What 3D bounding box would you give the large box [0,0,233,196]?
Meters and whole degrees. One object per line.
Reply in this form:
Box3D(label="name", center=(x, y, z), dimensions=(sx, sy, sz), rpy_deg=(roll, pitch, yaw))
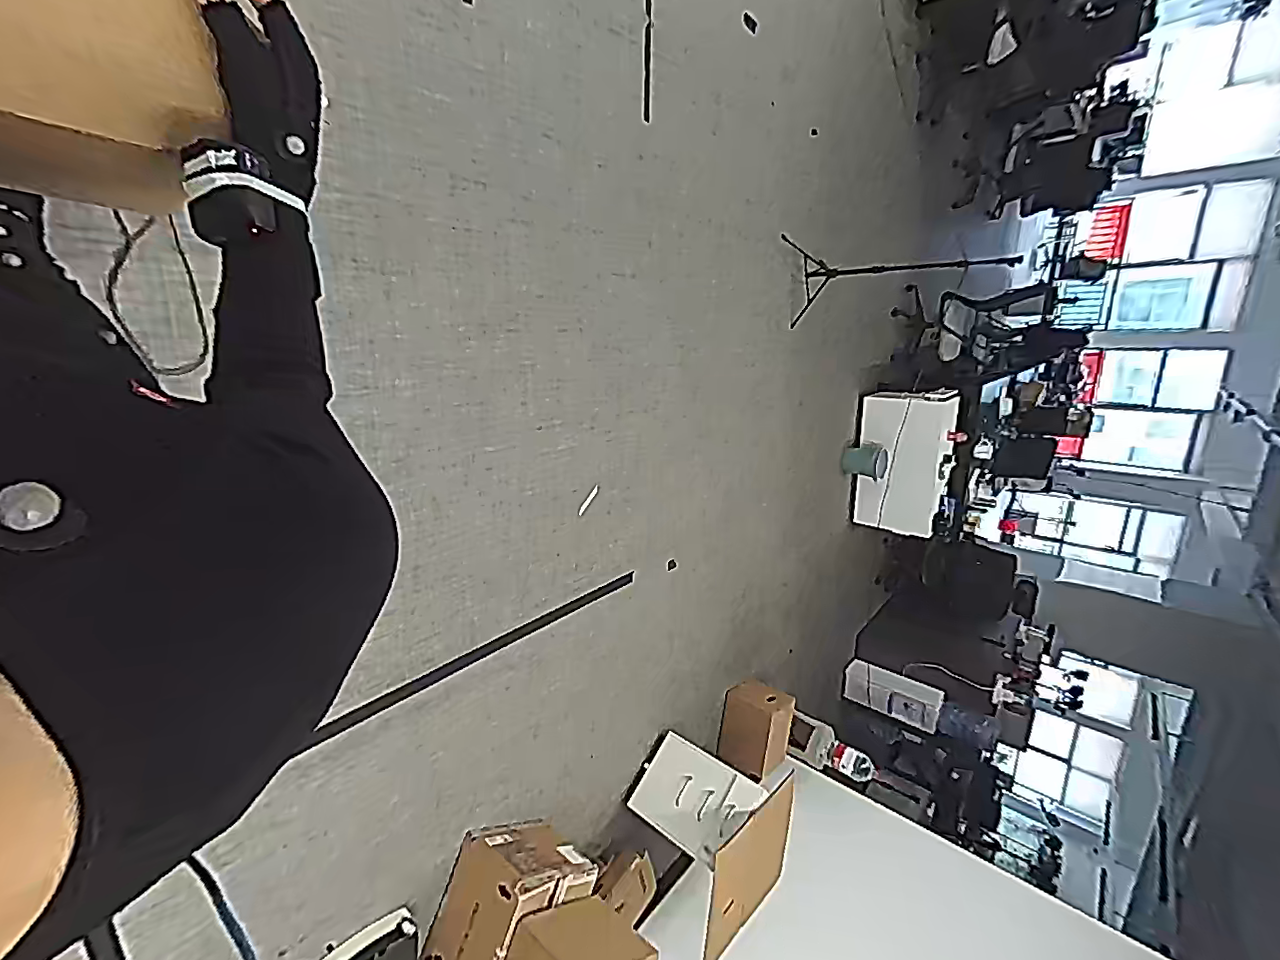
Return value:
Box3D(label="large box", center=(-0.572, -0.421, 0.358), dimensions=(0.408, 0.320, 0.320), rpy_deg=(-12, 111, -49))
